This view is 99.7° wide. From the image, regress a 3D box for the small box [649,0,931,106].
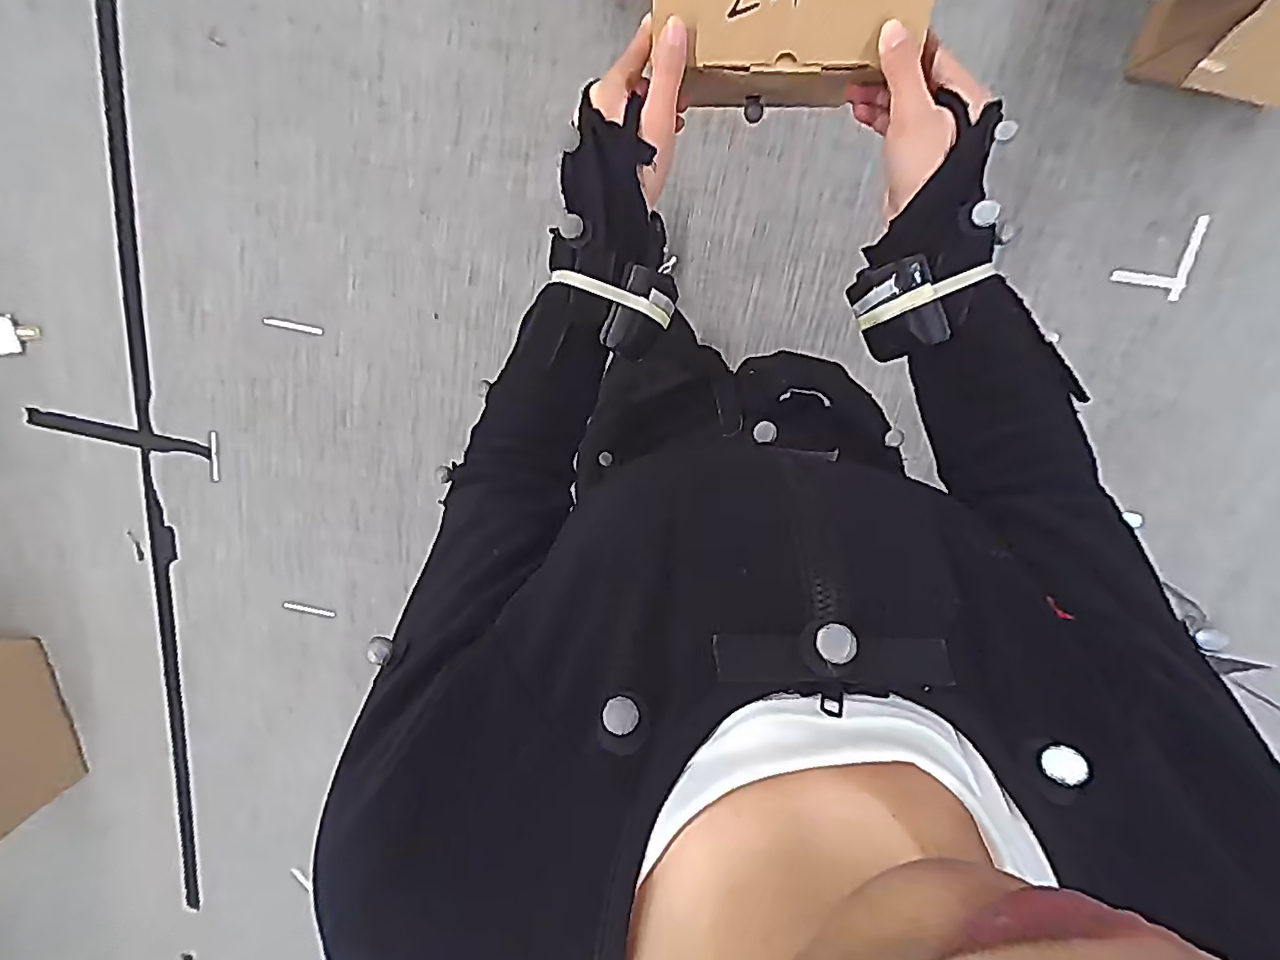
[{"bbox_3d":[0.091,-0.371,0.361,0.168,0.176,0.179,1,117,1],"label":"small box"}]
